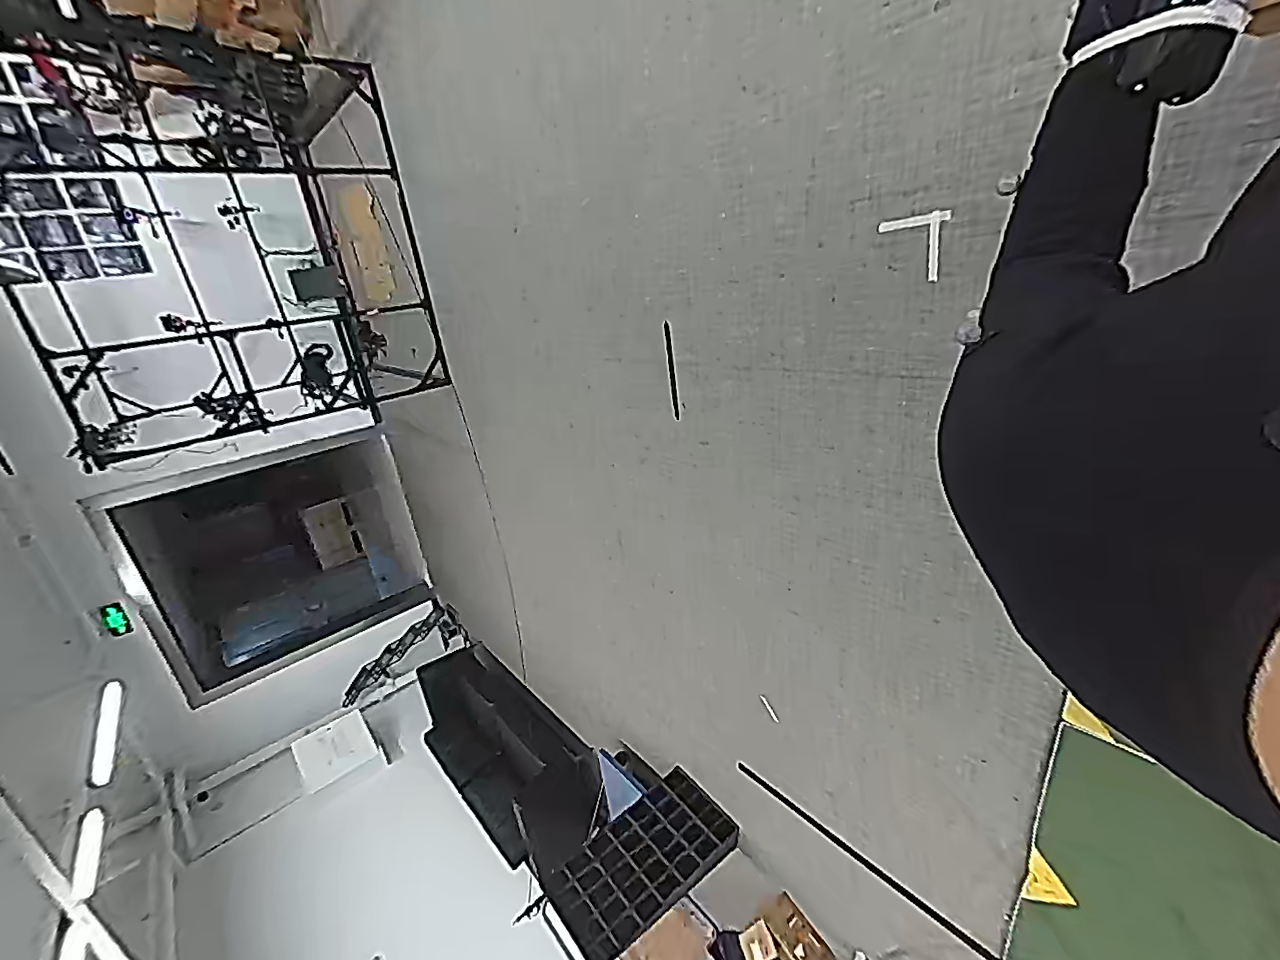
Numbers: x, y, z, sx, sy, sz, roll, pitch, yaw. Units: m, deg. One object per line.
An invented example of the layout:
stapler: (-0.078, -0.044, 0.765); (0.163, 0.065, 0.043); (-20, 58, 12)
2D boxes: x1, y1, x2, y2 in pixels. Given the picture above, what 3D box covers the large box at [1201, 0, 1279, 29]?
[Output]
large box: (0.598, -0.508, 0.266); (0.408, 0.320, 0.320); (13, 124, 49)
